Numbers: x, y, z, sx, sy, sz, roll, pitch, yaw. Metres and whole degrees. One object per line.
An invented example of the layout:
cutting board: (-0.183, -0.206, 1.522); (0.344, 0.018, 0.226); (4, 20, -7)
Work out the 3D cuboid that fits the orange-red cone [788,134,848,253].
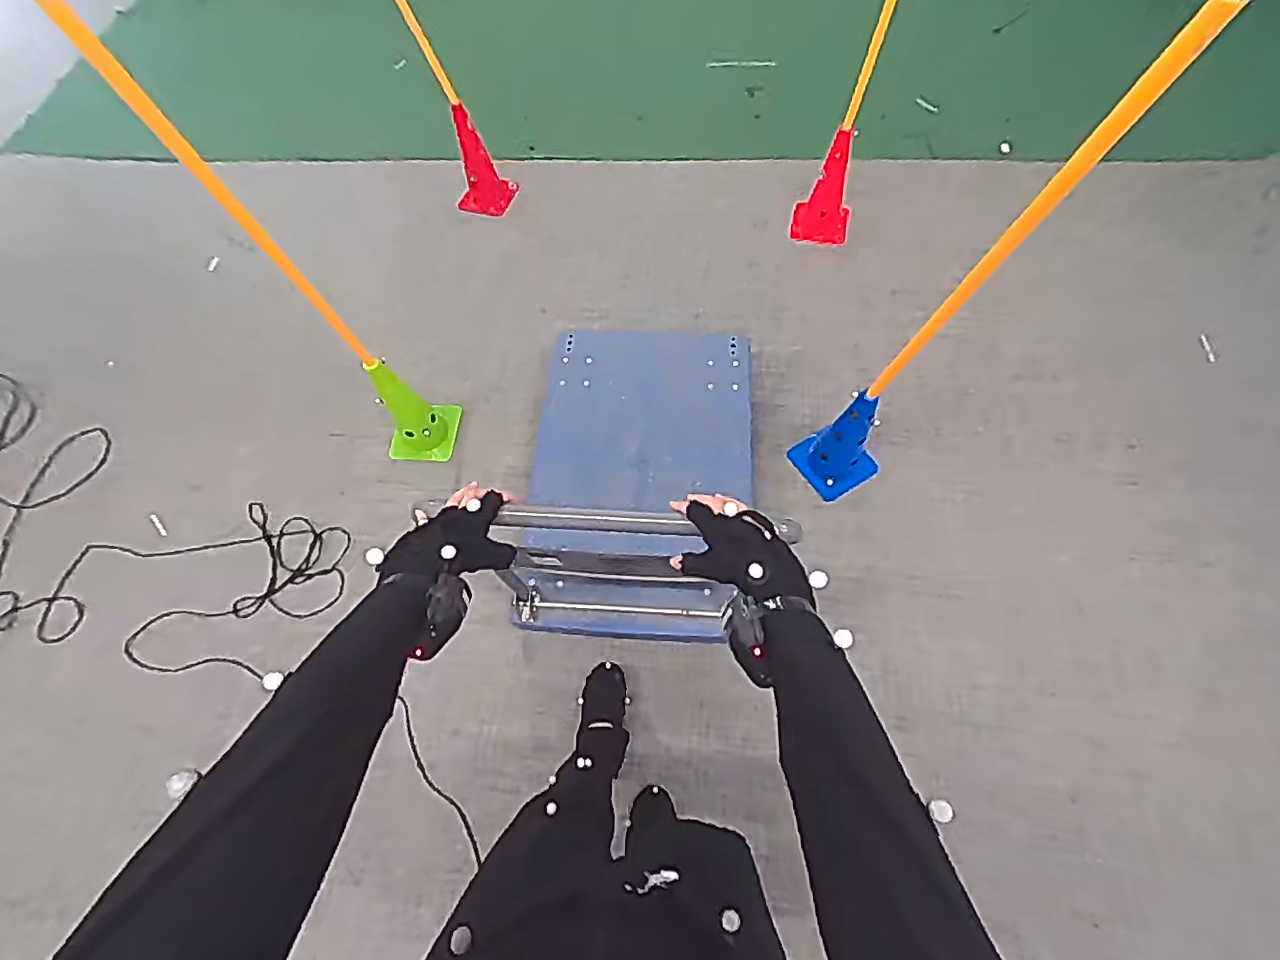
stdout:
orange-red cone: (0.647, -0.993, 1.847); (0.198, 0.360, 0.199); (13, 67, 10)
